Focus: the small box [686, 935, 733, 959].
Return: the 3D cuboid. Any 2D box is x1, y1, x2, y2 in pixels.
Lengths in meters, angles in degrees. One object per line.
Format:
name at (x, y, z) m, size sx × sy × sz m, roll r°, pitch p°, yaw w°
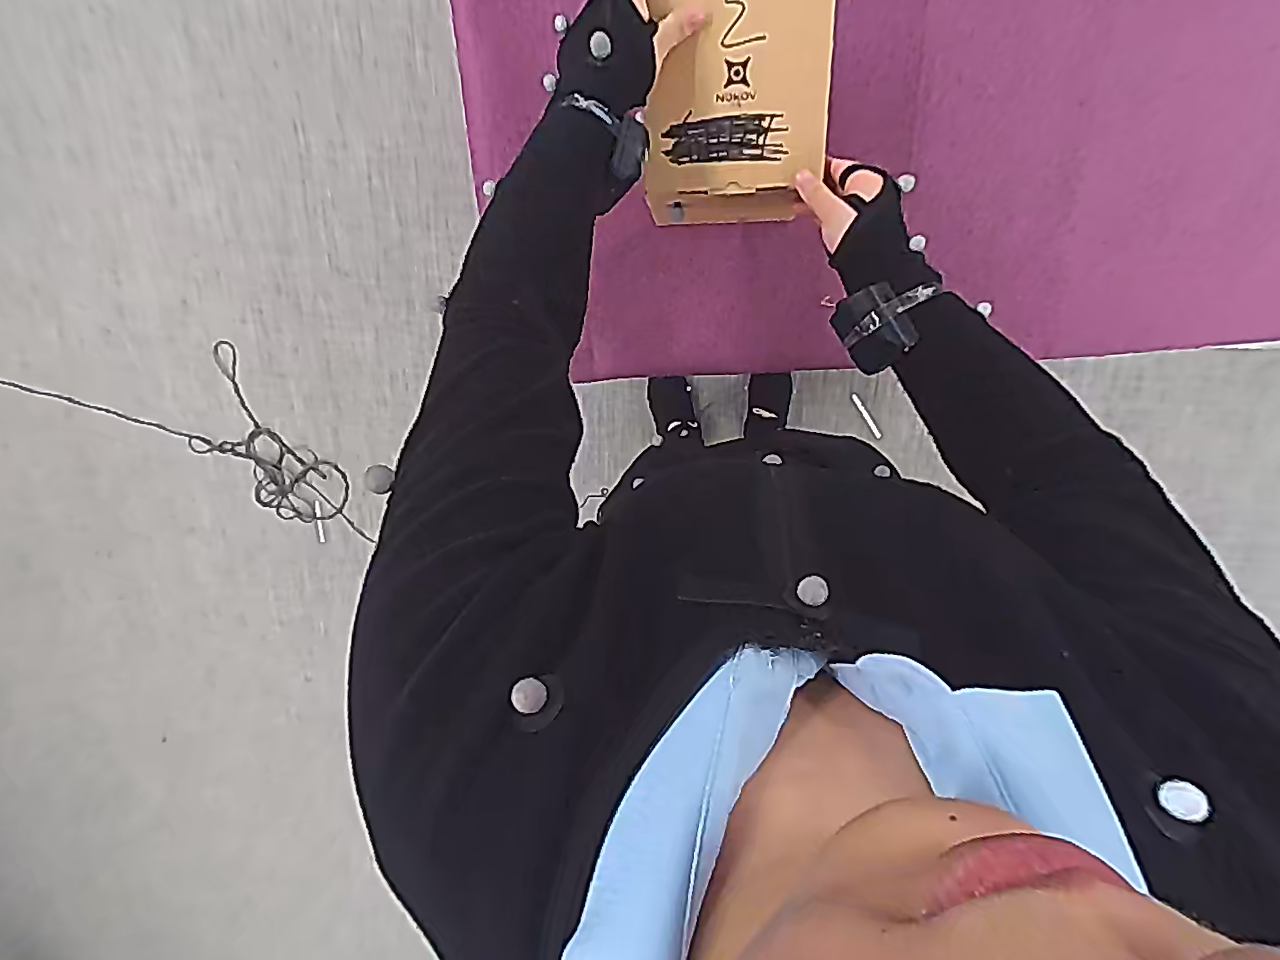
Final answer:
small box at (0.251, 1.813, 1.969) m, size 0.168 × 0.176 × 0.179 m, roll 5°, pitch 108°, yaw 5°
